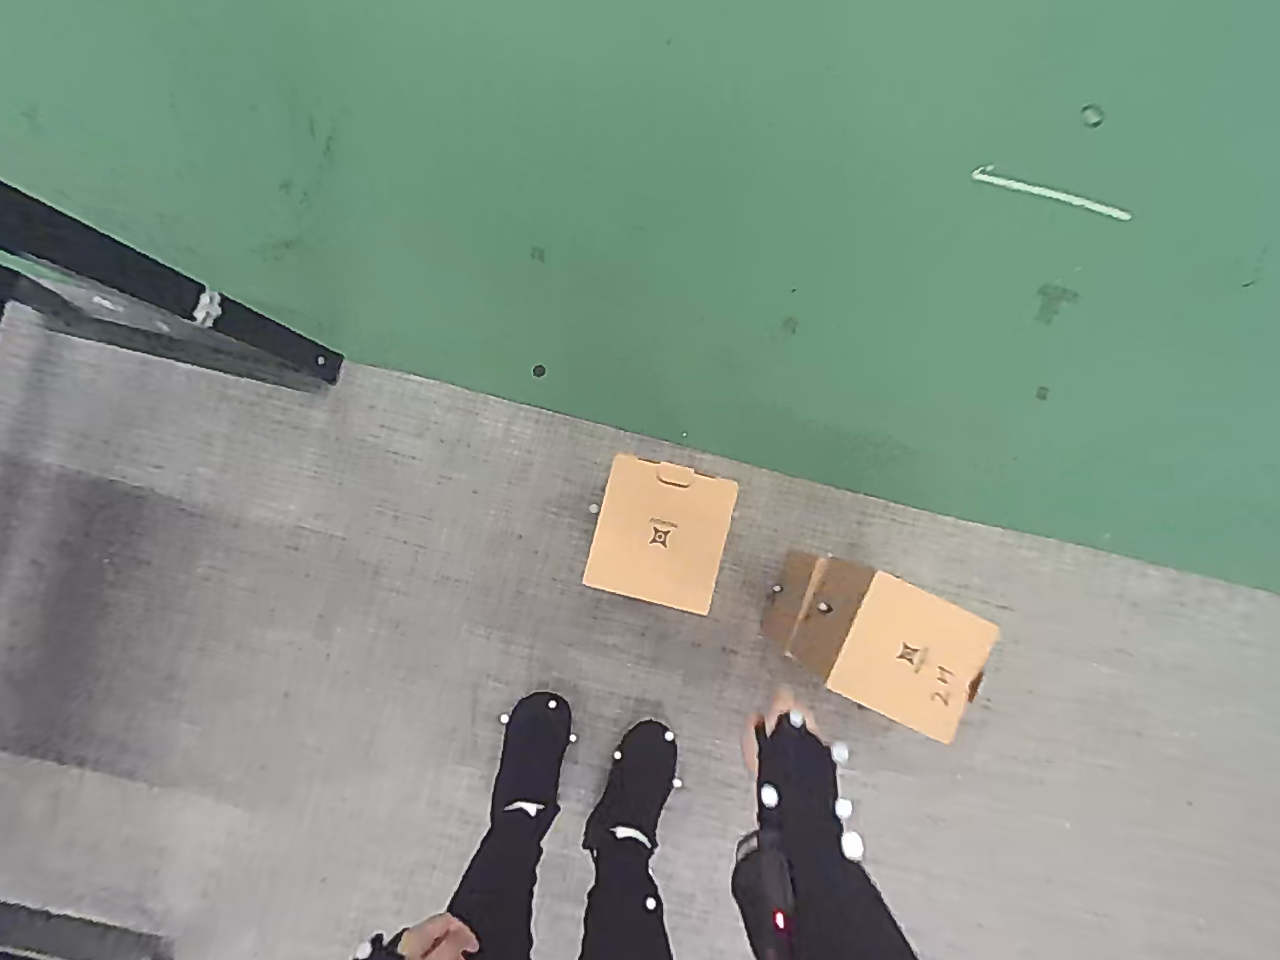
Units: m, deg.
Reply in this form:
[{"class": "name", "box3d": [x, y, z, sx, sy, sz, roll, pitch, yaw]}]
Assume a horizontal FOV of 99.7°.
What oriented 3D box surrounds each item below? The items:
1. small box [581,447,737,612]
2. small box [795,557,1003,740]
[{"class": "small box", "box3d": [0.025, 0.067, 0.753, 0.168, 0.176, 0.179, 13, 86, 0]}, {"class": "small box", "box3d": [0.340, 0.216, 0.748, 0.179, 0.176, 0.168, 25, 88, 0]}]
